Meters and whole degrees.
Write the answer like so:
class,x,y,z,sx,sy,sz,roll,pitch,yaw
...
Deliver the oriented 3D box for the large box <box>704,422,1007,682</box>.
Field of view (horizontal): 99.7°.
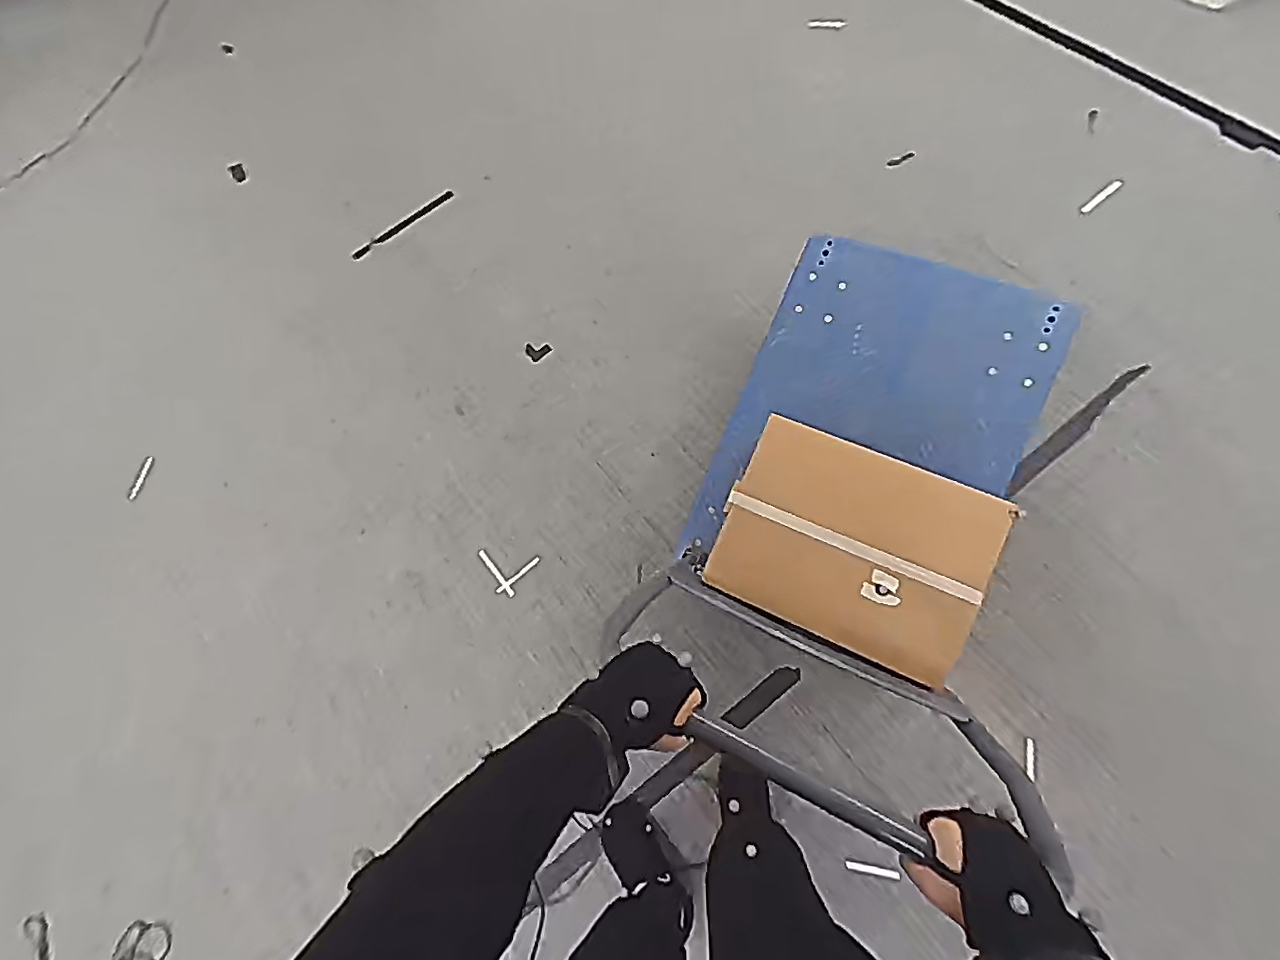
class,x,y,z,sx,sy,sz,roll,pitch,yaw
large box,0.372,0.122,1.037,0.408,0.320,0.320,23,90,13
